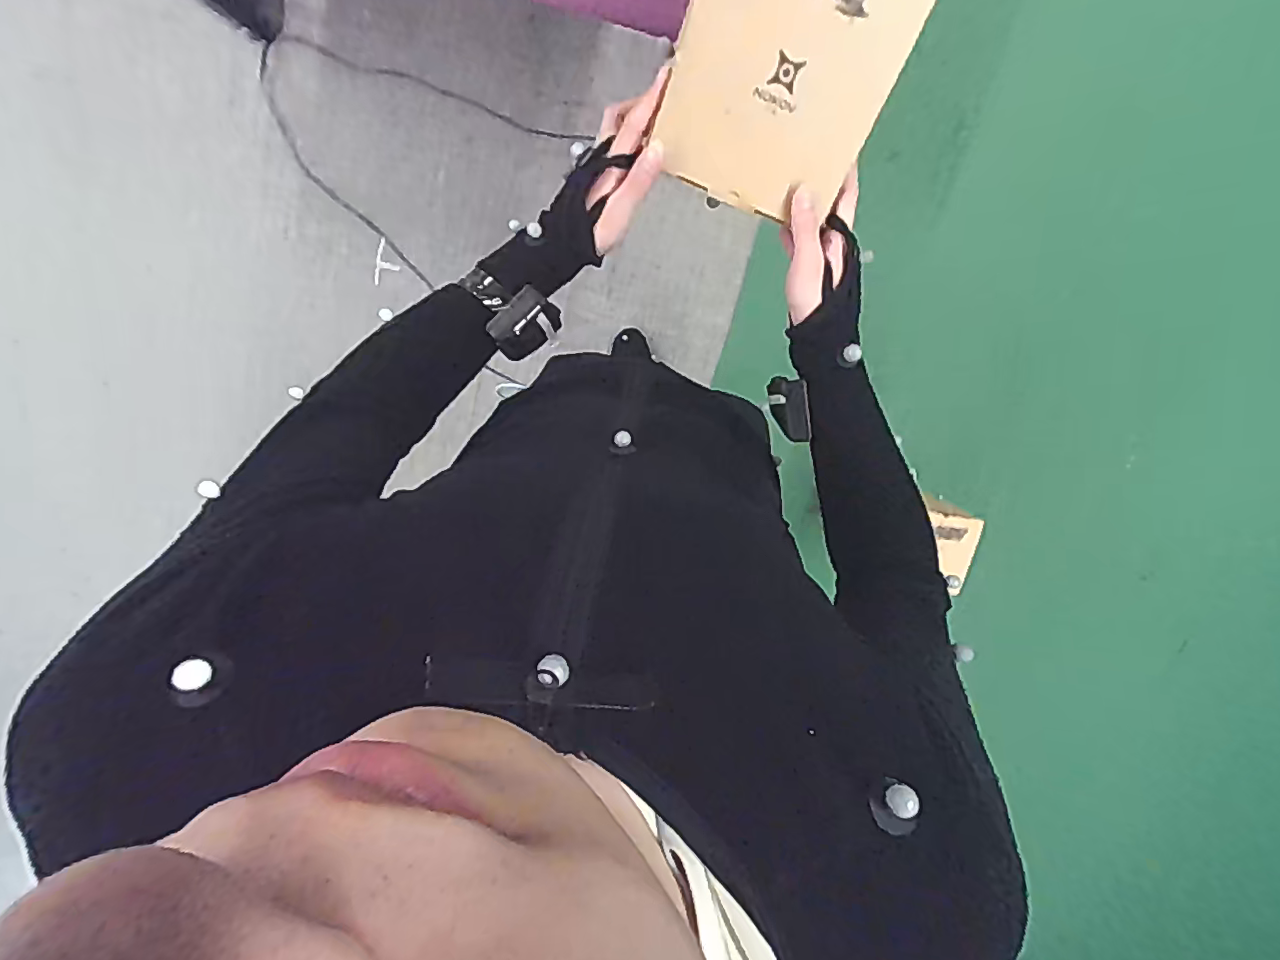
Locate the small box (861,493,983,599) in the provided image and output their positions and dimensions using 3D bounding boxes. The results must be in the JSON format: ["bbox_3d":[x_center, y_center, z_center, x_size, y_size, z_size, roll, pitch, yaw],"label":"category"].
[{"bbox_3d":[0.630,0.142,1.232,0.168,0.176,0.179,12,104,0],"label":"small box"}]
